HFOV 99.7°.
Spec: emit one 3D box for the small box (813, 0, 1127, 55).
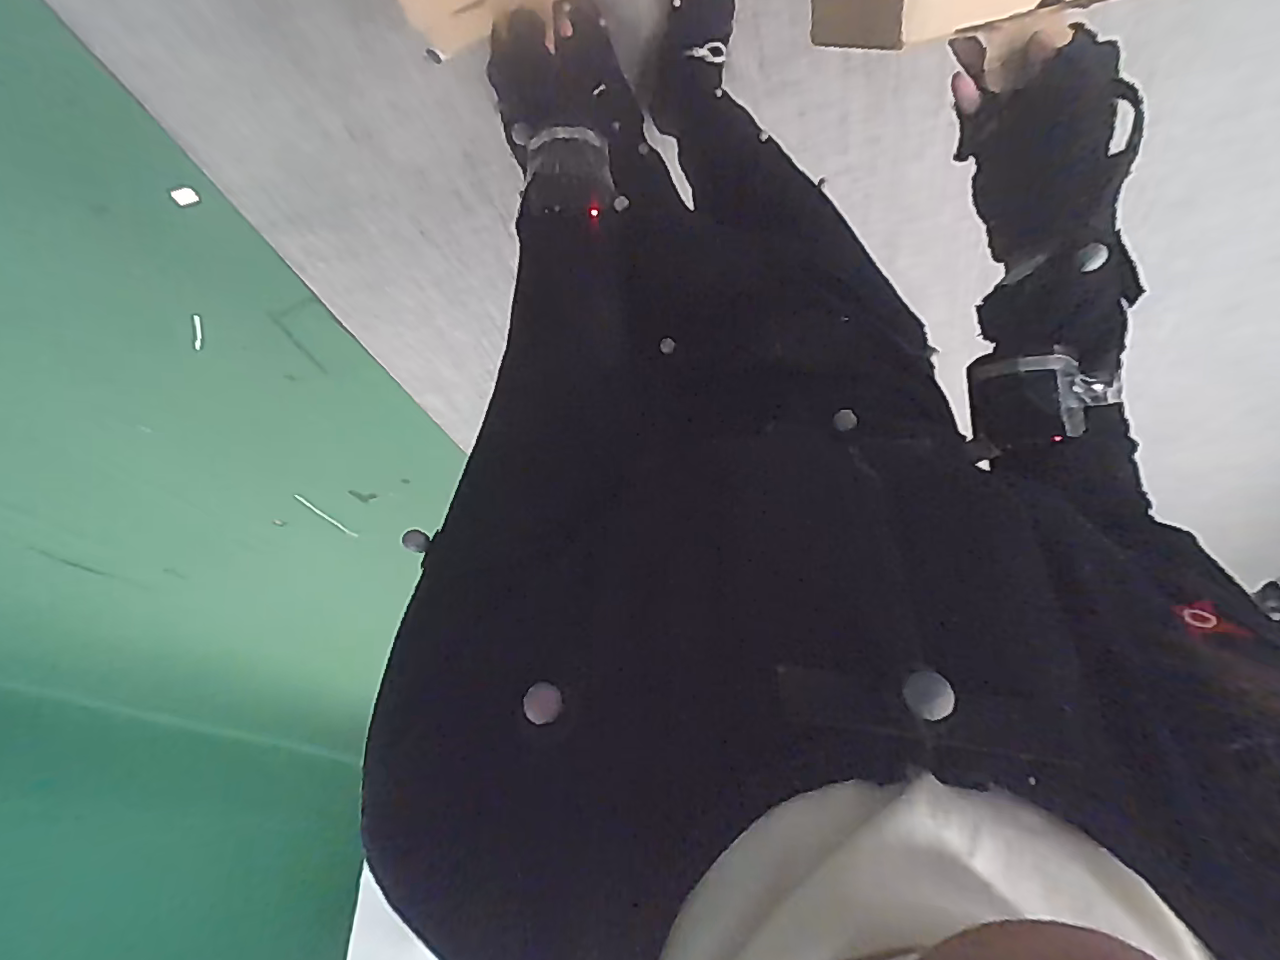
[{"bbox_3d":[0.206,-0.381,0.317,0.168,0.176,0.179,-11,130,4],"label":"small box"}]
